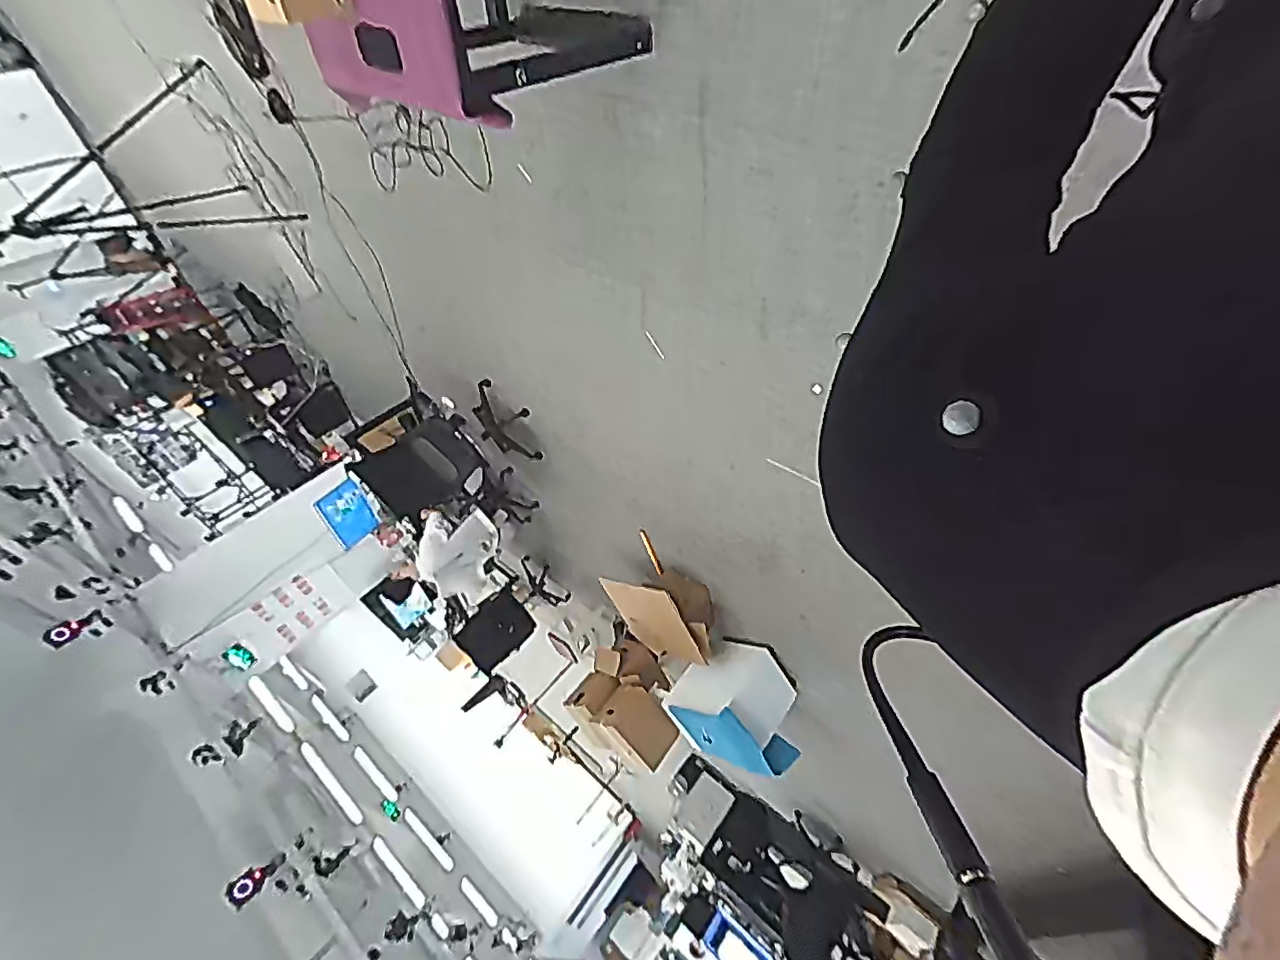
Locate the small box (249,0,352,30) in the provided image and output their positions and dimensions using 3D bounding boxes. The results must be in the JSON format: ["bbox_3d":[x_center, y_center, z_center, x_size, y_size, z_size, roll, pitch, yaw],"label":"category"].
[{"bbox_3d":[-0.777,-1.131,1.207,0.179,0.176,0.168,31,145,27],"label":"small box"}]
